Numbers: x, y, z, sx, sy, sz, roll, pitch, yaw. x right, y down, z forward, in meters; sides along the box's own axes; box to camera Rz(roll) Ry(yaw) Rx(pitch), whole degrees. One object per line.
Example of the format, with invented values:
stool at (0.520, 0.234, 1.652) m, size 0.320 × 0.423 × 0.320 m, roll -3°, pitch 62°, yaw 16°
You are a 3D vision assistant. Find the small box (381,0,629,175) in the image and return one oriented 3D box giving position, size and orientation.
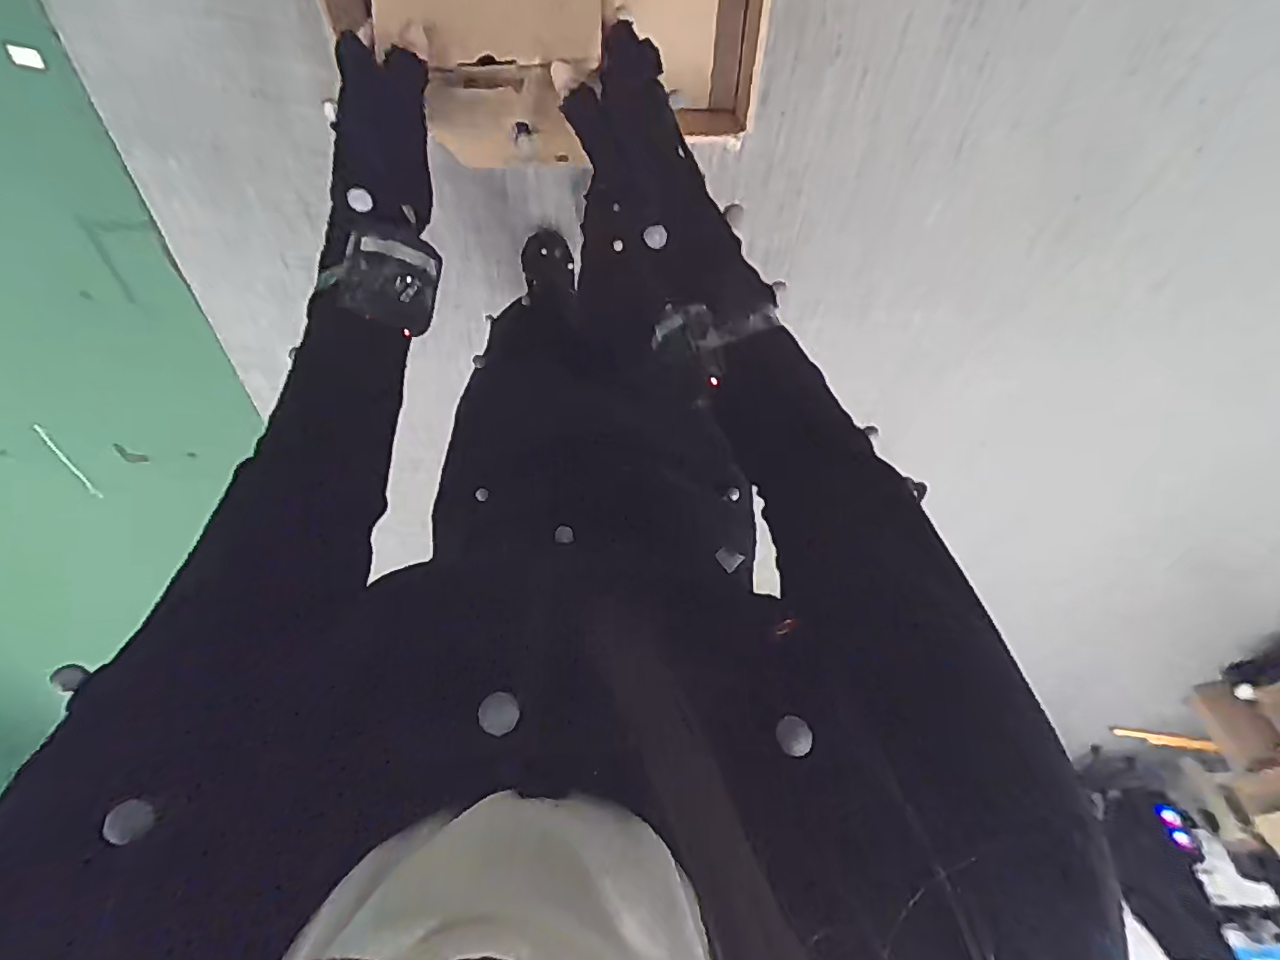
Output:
small box at (-0.101, -0.385, 0.467) m, size 0.168 × 0.176 × 0.179 m, roll 0°, pitch 98°, yaw 6°
